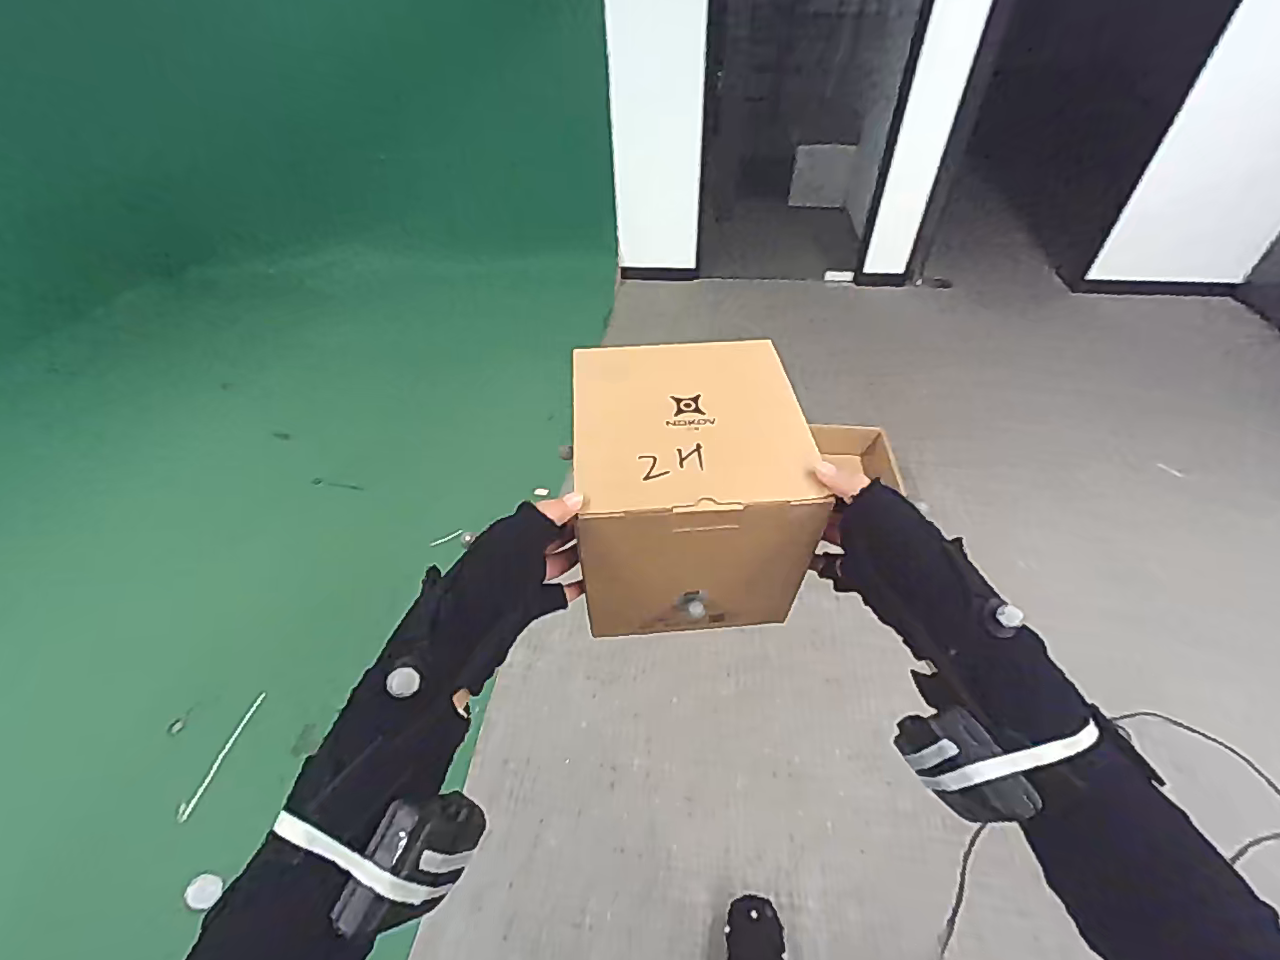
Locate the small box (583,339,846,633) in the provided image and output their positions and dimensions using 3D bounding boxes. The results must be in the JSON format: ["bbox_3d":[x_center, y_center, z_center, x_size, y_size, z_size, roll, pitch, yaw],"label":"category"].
[{"bbox_3d":[0.041,0.005,0.445,0.168,0.176,0.179,-3,48,-2],"label":"small box"}]
